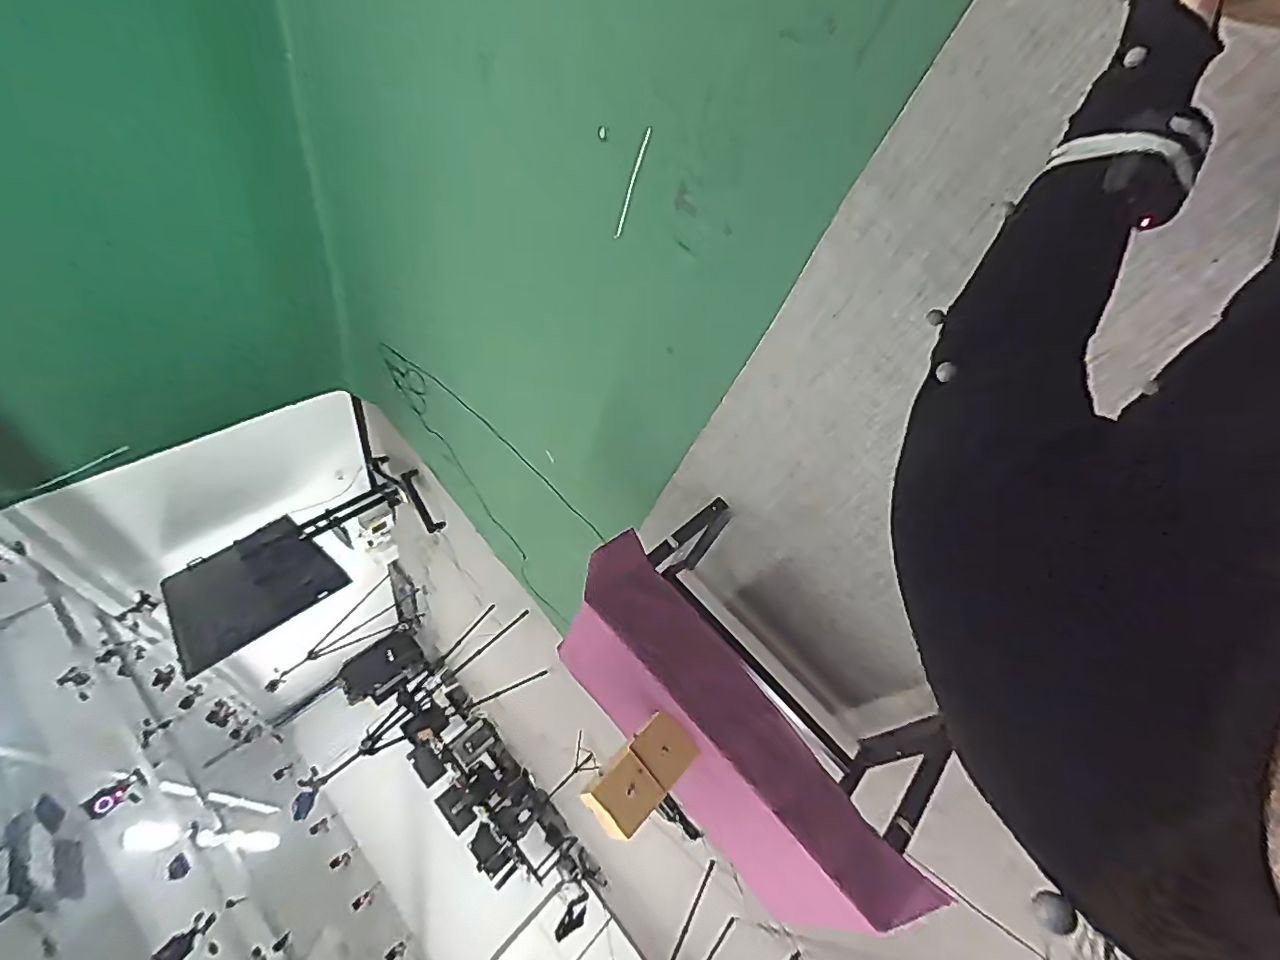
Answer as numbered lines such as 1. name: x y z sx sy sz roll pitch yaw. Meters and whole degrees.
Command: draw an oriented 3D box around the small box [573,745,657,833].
1. small box: -0.073 0.936 1.646 0.168 0.176 0.179 49 144 10
